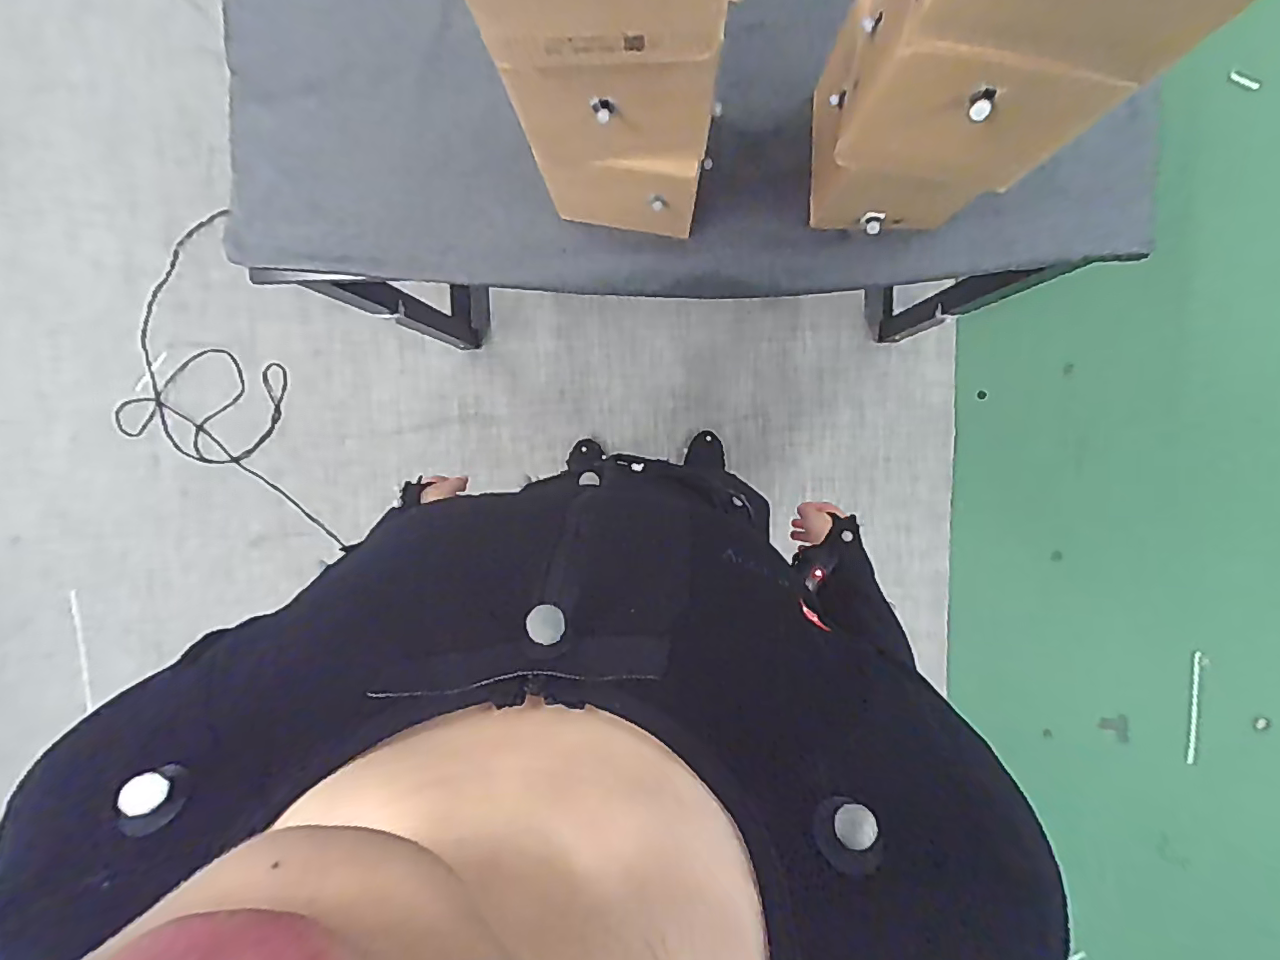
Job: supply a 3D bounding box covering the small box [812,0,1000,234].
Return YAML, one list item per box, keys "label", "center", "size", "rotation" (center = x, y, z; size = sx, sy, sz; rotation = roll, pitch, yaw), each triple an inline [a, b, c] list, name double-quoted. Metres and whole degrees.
- label: "small box"
  center: [0.303, -0.405, 0.623]
  size: [0.168, 0.176, 0.179]
  rotation: [1, 94, 4]

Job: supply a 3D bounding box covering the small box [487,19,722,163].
- label: "small box"
  center: [-0.023, -0.403, 0.473]
  size: [0.179, 0.176, 0.168]
  rotation: [1, 94, 3]

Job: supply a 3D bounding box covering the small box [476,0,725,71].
- label: "small box"
  center: [-0.029, -0.382, 0.310]
  size: [0.168, 0.176, 0.179]
  rotation: [0, 93, 2]

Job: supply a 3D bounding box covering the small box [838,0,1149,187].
- label: "small box"
  center: [0.294, -0.379, 0.462]
  size: [0.179, 0.176, 0.168]
  rotation: [11, 94, 3]
